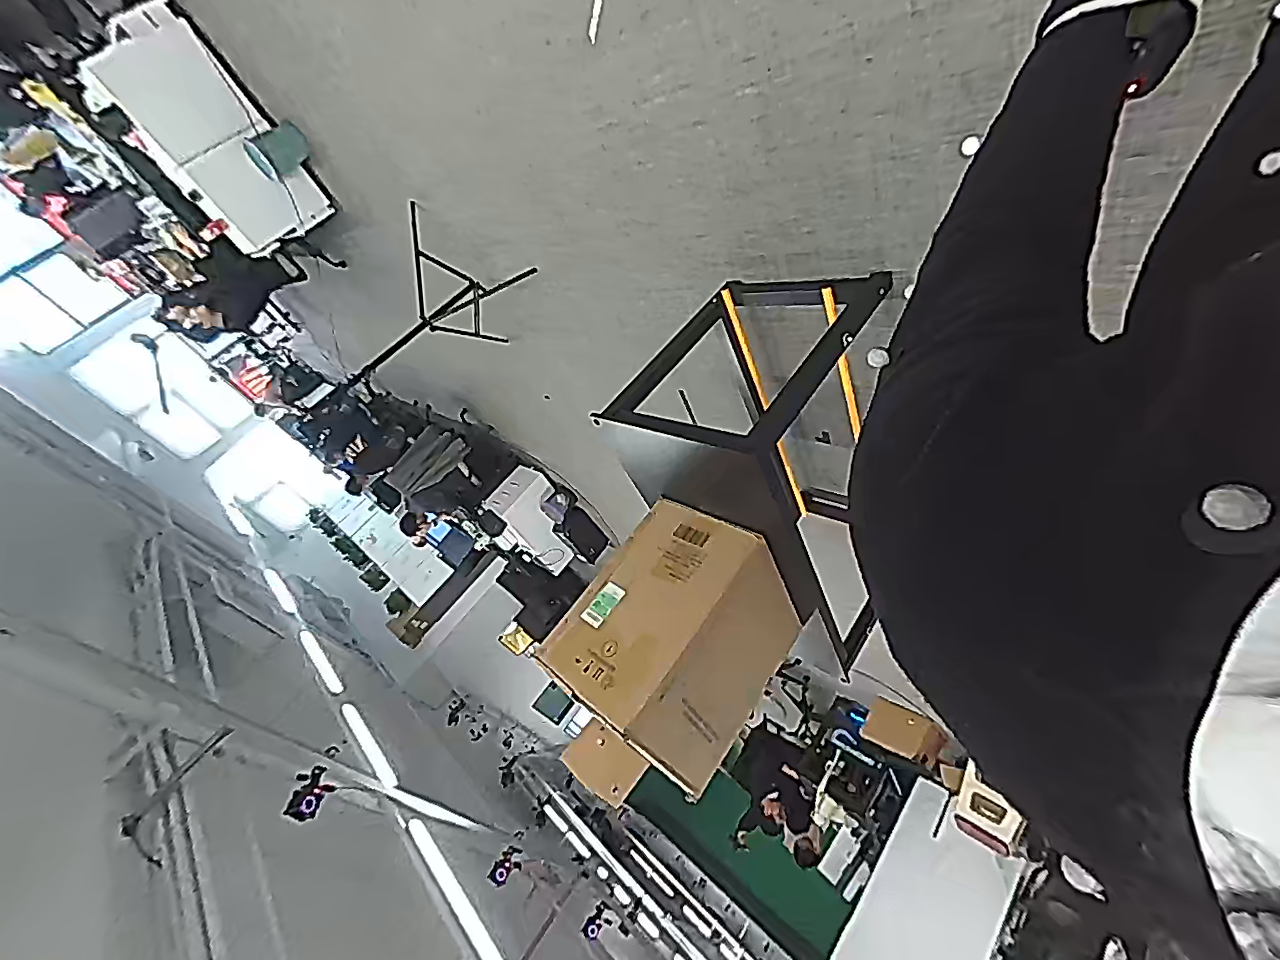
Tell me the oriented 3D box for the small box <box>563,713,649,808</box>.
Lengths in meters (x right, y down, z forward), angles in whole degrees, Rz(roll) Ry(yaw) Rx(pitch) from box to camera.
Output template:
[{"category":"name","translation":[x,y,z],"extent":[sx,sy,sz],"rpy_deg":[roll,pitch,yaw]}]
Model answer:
[{"category":"small box","translation":[-0.099,0.863,1.673],"extent":[0.168,0.176,0.179],"rpy_deg":[22,151,45]}]
